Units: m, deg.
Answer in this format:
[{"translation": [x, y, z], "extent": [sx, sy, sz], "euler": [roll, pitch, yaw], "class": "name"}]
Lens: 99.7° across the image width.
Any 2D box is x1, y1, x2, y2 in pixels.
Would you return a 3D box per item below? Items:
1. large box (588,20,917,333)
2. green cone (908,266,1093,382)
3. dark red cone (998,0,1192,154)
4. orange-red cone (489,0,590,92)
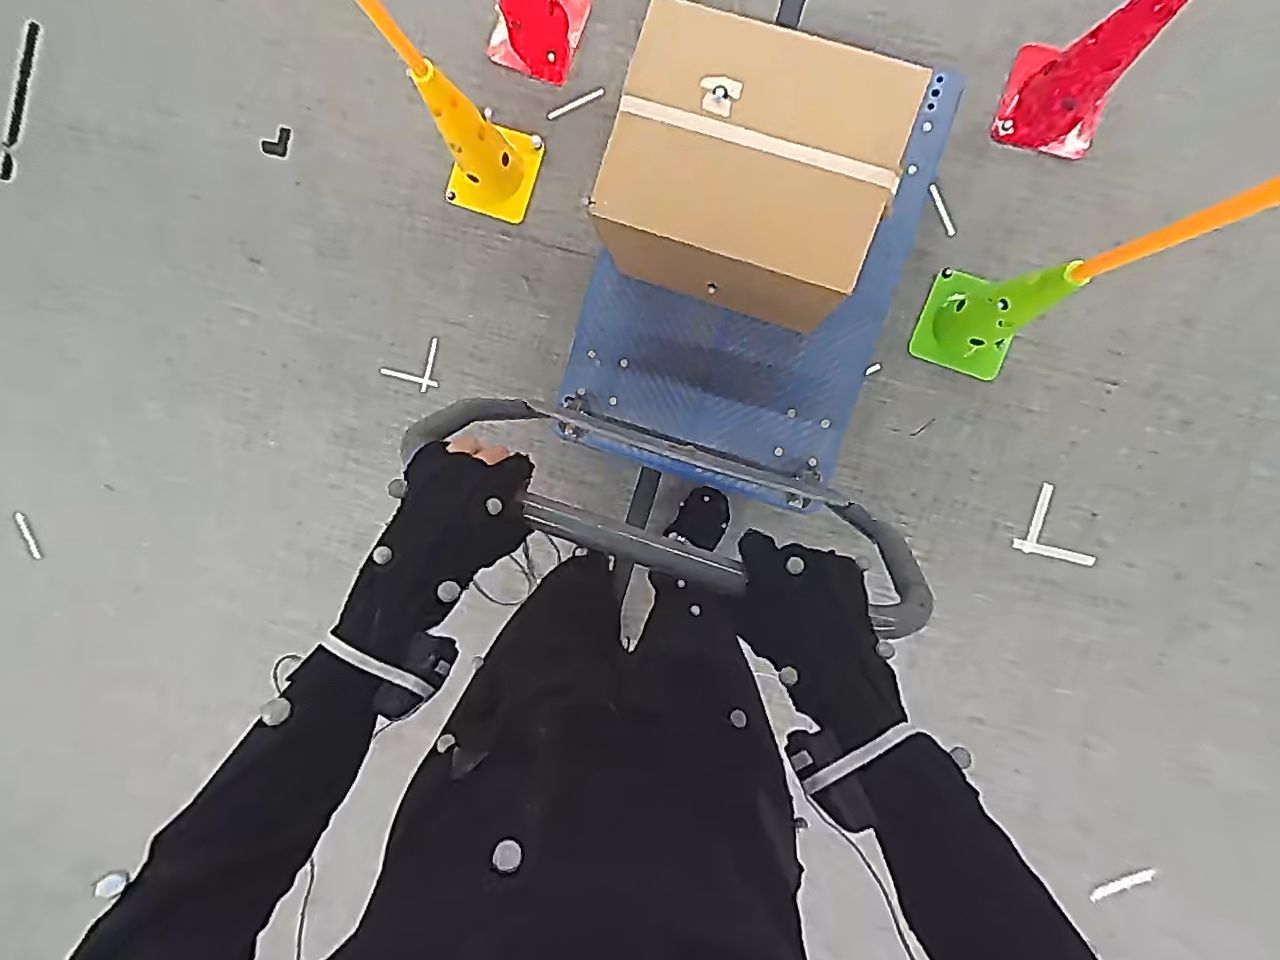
[{"translation": [0.174, -0.476, 0.929], "extent": [0.408, 0.320, 0.320], "euler": [19, 96, 5], "class": "large box"}, {"translation": [0.701, -0.325, 1.024], "extent": [0.202, 0.368, 0.200], "euler": [20, 96, 3], "class": "green cone"}, {"translation": [0.851, -0.782, 0.959], "extent": [0.201, 0.394, 0.202], "euler": [16, 96, 3], "class": "dark red cone"}, {"translation": [-0.251, -1.018, 1.087], "extent": [0.198, 0.360, 0.199], "euler": [24, 95, 3], "class": "orange-red cone"}]
